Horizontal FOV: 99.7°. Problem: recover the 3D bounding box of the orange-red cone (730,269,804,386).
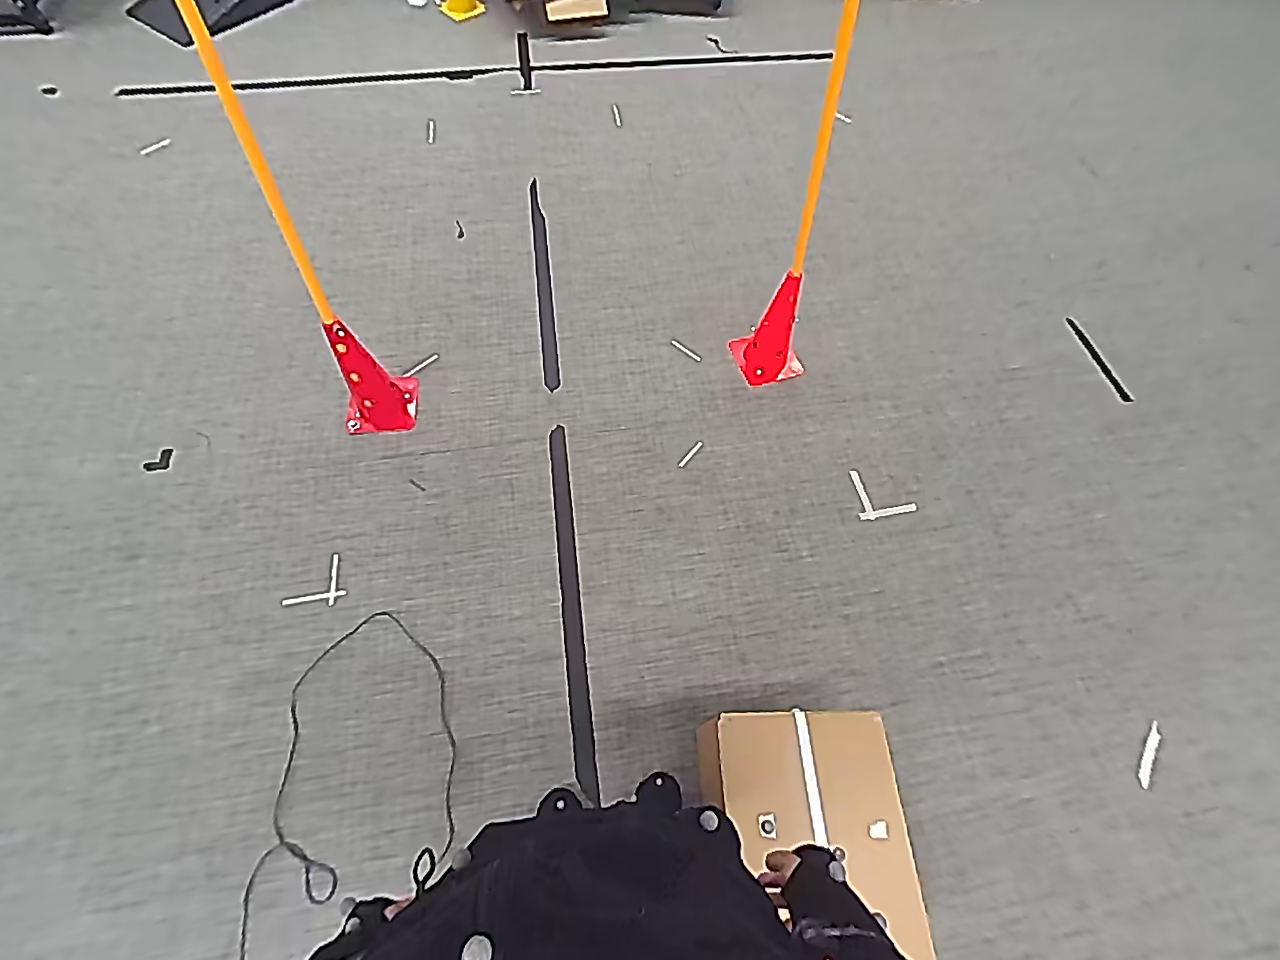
[{"bbox_3d":[0.419,-0.478,1.615,0.199,0.360,0.198,-14,65,-11],"label":"orange-red cone"}]
